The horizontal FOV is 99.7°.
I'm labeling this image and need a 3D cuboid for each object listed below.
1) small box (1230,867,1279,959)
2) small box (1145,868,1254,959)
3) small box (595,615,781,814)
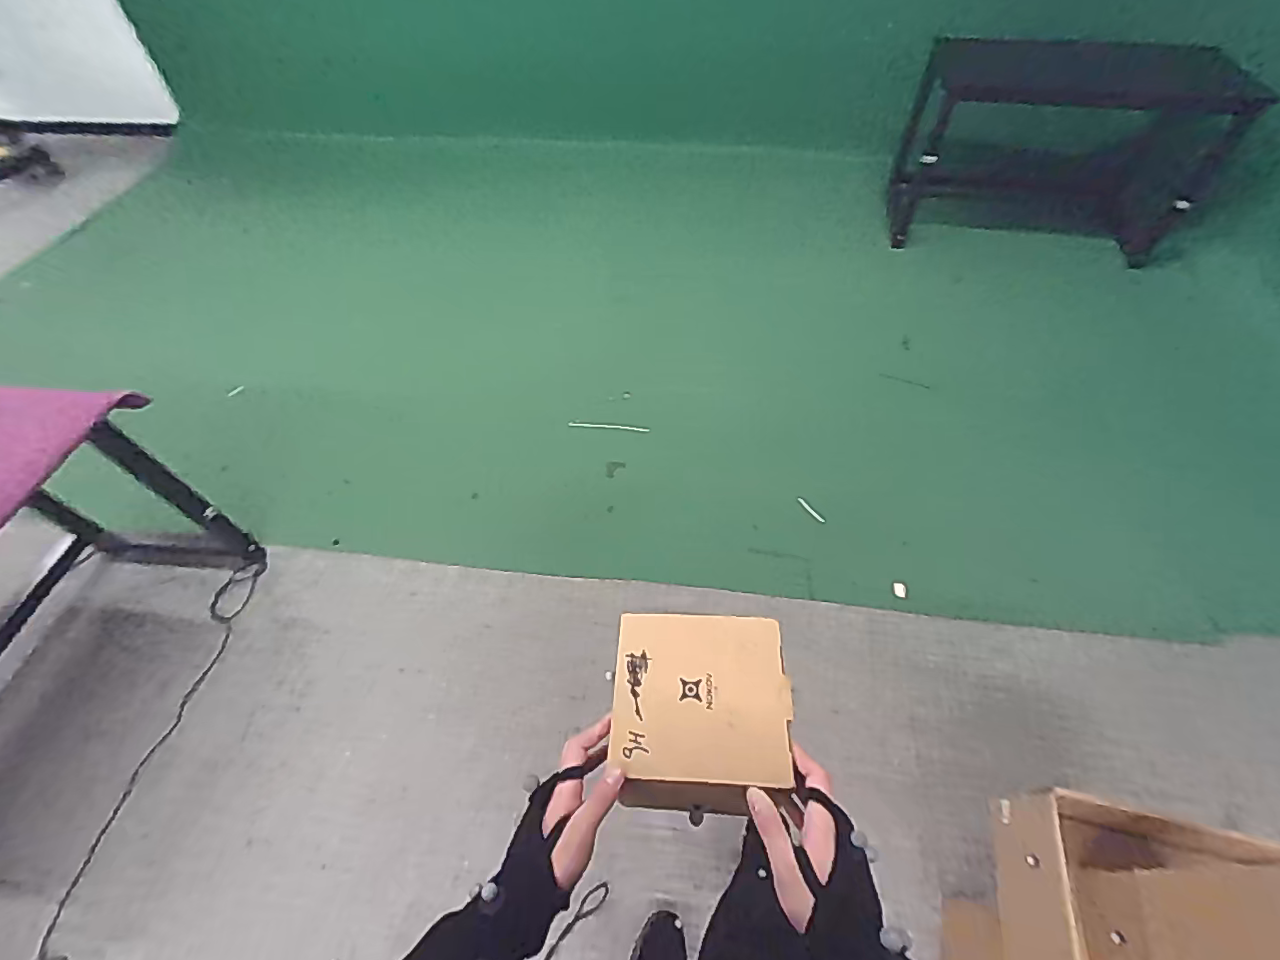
[{"bbox_3d":[0.781,0.517,0.546,0.168,0.176,0.179,10,55,10],"label":"small box"},{"bbox_3d":[0.793,0.614,0.678,0.168,0.176,0.179,11,57,11],"label":"small box"},{"bbox_3d":[0.054,0.268,0.613,0.179,0.176,0.168,1,50,6],"label":"small box"}]
